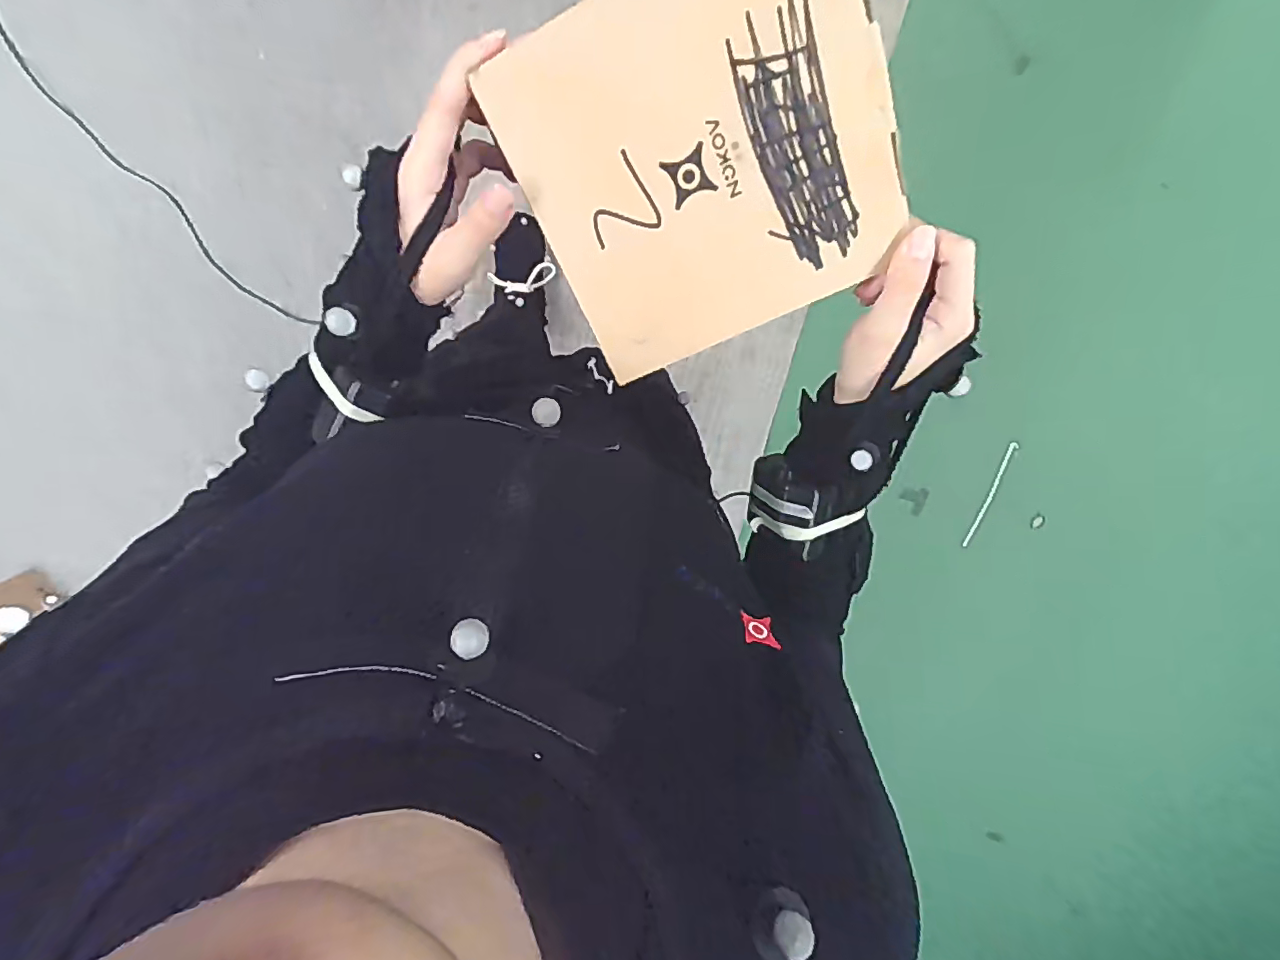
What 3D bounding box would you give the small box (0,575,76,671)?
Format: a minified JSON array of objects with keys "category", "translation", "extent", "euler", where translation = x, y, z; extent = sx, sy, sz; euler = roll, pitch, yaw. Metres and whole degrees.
[{"category":"small box","translation":[-1.570,0.367,1.322],"extent":[0.179,0.176,0.168],"euler":[-30,110,6]}]
